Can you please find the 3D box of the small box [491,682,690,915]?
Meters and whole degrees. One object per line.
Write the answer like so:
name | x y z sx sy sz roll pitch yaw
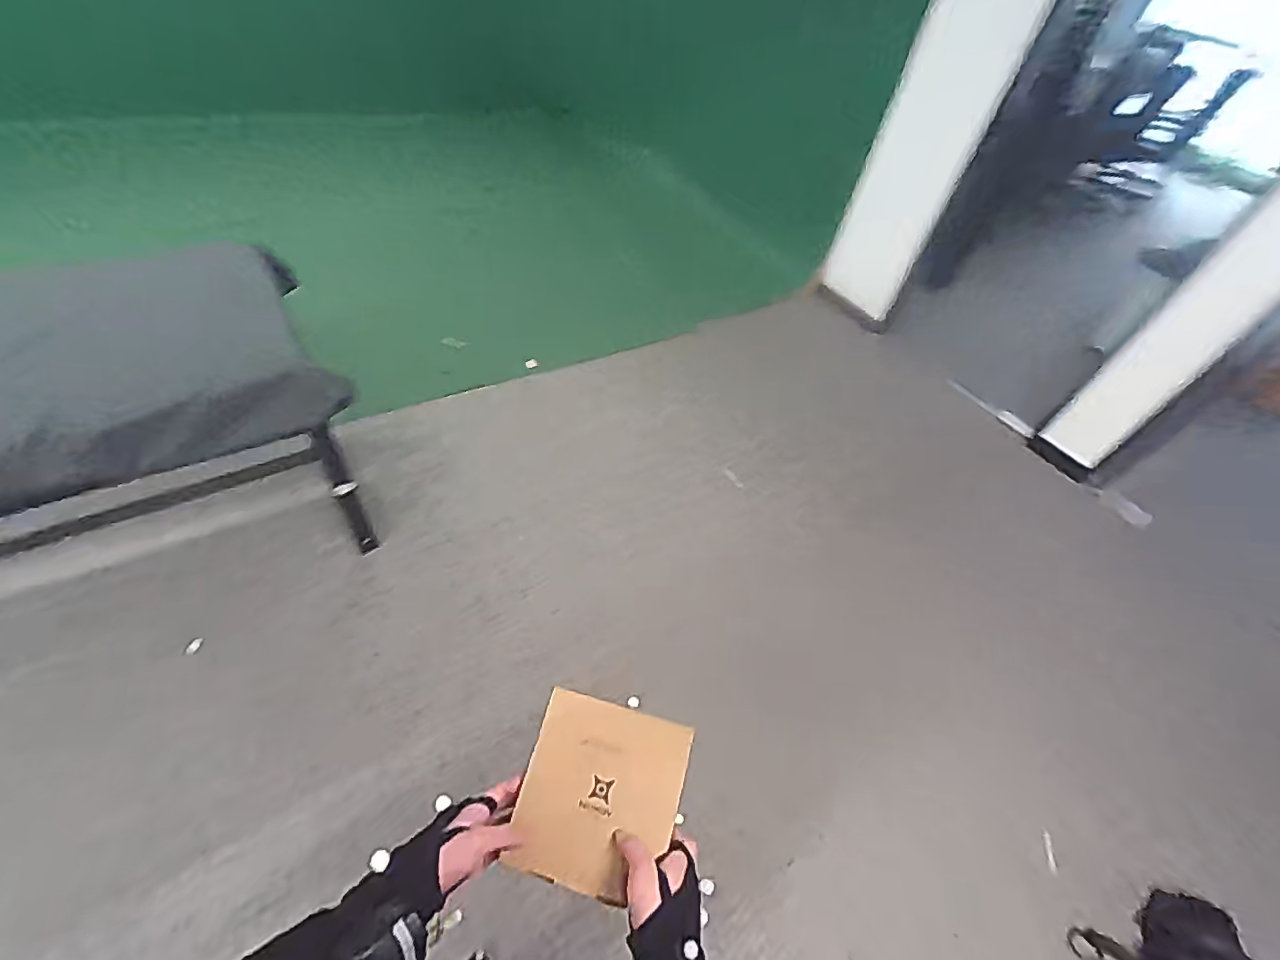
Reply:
small box | -0.049 0.350 0.626 0.168 0.176 0.179 15 65 3
